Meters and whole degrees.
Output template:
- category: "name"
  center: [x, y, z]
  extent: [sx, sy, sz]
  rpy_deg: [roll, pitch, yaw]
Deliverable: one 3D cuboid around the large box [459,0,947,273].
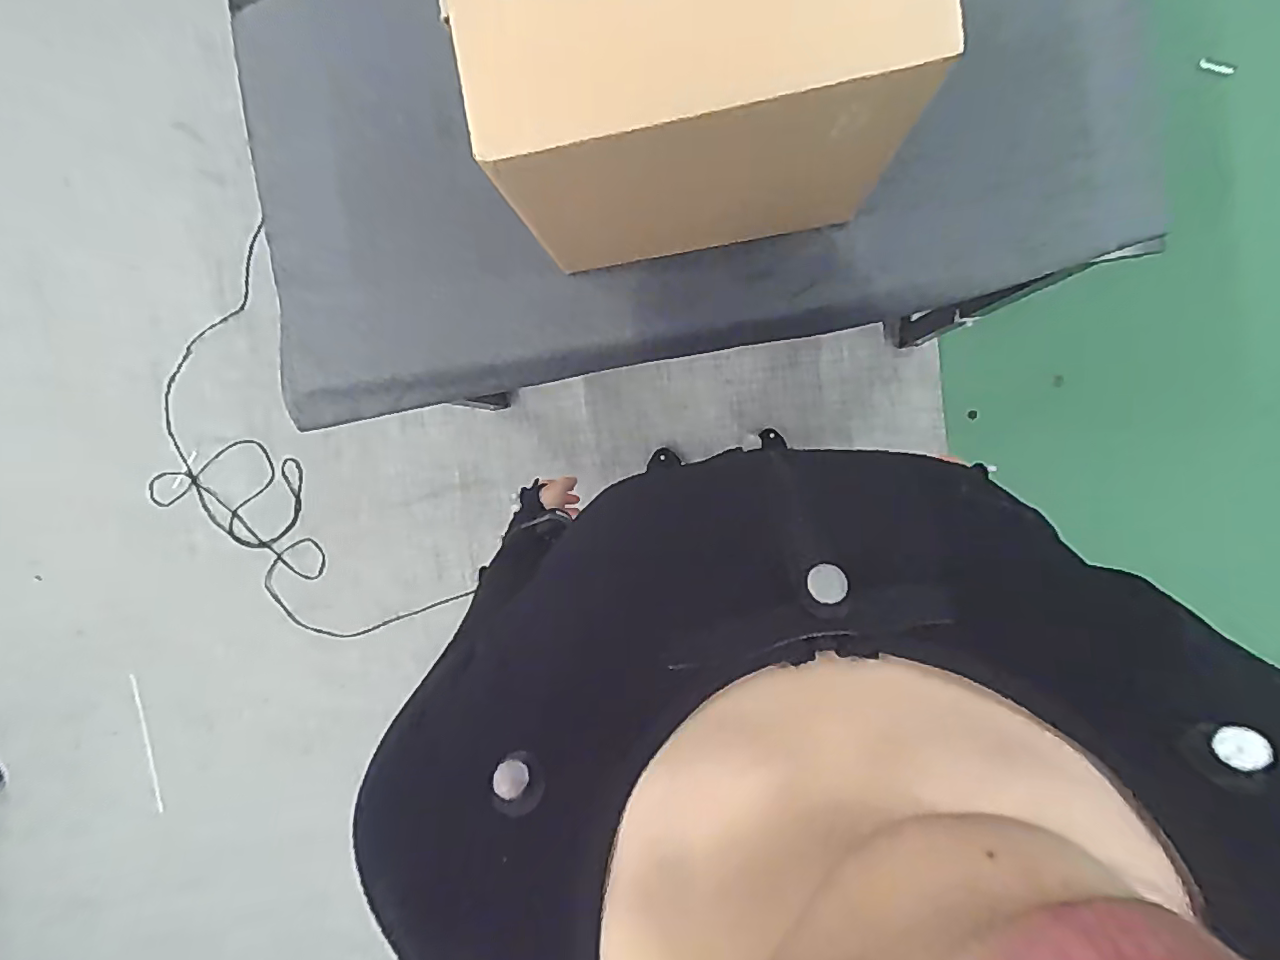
- category: "large box"
  center: [0.046, -0.468, 0.603]
  extent: [0.408, 0.320, 0.320]
  rpy_deg: [-9, 93, 6]
